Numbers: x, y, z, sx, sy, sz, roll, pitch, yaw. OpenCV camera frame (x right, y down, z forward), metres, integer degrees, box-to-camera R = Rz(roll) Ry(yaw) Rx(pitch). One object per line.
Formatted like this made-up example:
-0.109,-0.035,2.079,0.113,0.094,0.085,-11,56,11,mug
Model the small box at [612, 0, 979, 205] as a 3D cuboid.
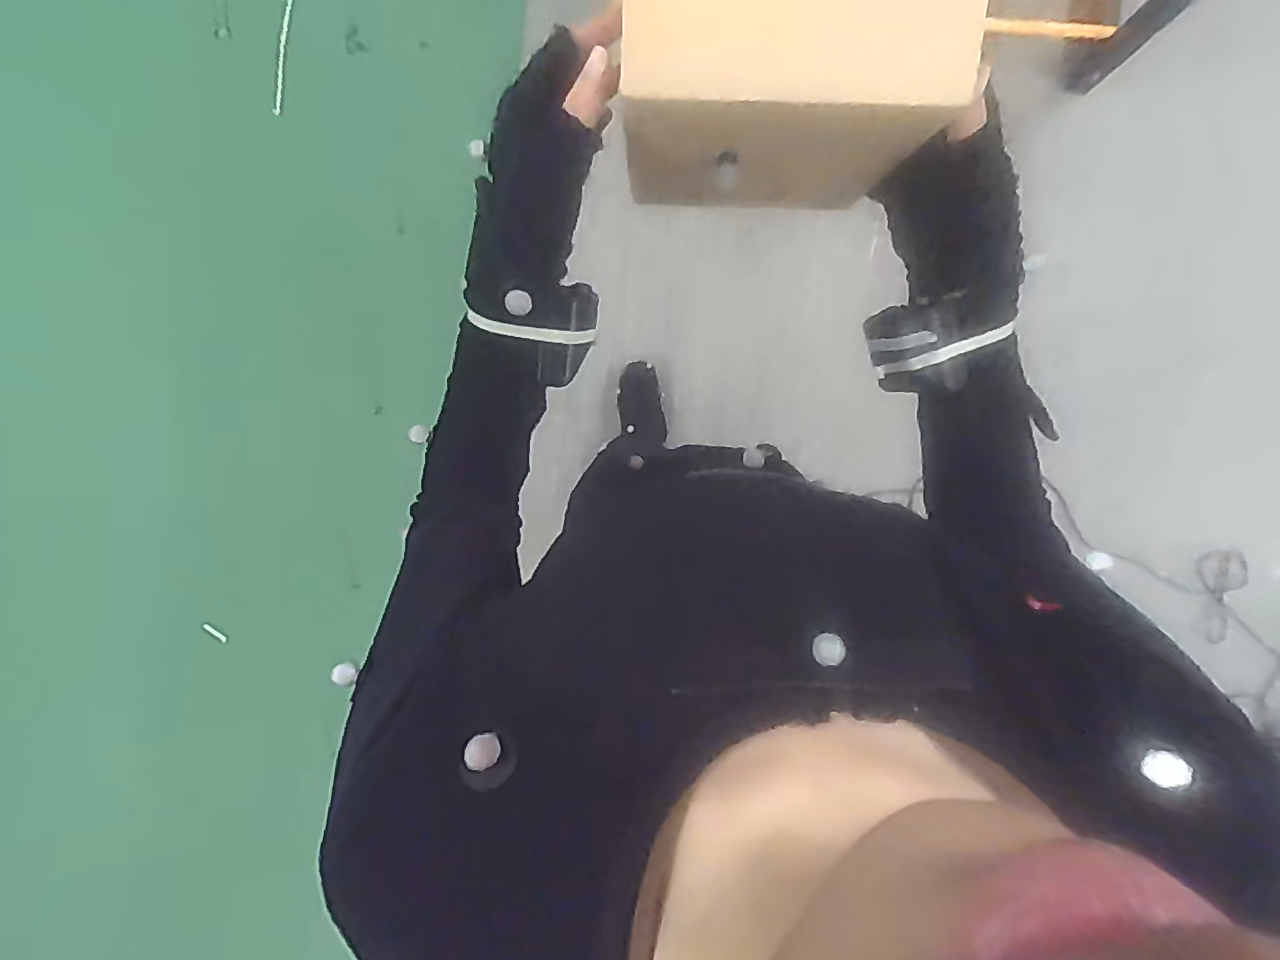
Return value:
0.076,-0.277,0.314,0.168,0.176,0.179,2,100,2,small box
